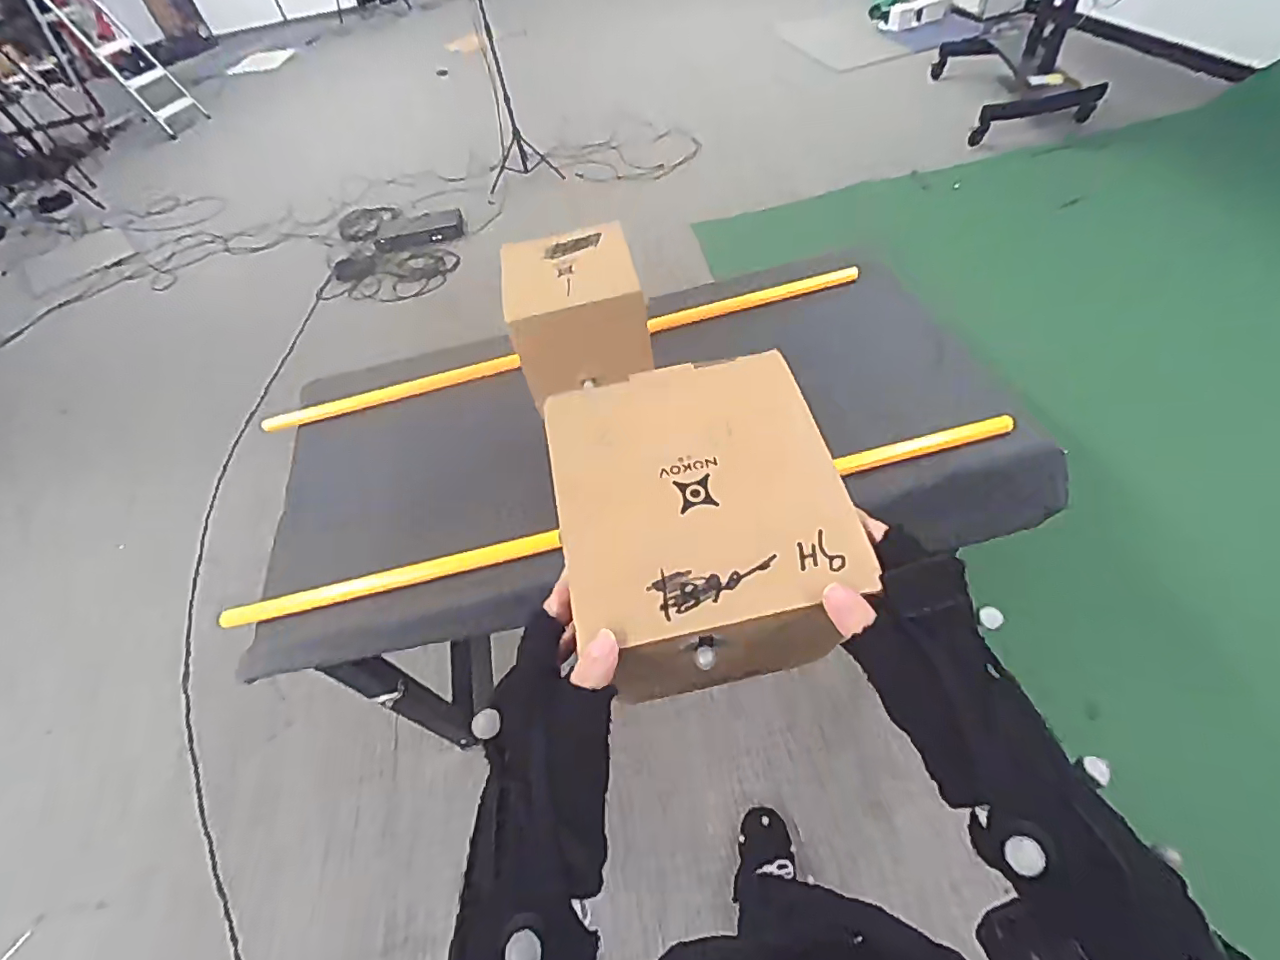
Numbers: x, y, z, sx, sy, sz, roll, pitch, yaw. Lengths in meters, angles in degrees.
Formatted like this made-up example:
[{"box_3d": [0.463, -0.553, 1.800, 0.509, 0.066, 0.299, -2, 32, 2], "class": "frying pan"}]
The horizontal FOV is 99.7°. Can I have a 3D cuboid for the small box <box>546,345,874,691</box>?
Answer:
[{"box_3d": [0.036, 0.035, 0.395, 0.168, 0.176, 0.179, -13, 59, -1], "class": "small box"}]

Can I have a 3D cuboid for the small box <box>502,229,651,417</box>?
[{"box_3d": [-0.083, -0.210, 0.742, 0.168, 0.176, 0.179, -13, 52, 0], "class": "small box"}]
